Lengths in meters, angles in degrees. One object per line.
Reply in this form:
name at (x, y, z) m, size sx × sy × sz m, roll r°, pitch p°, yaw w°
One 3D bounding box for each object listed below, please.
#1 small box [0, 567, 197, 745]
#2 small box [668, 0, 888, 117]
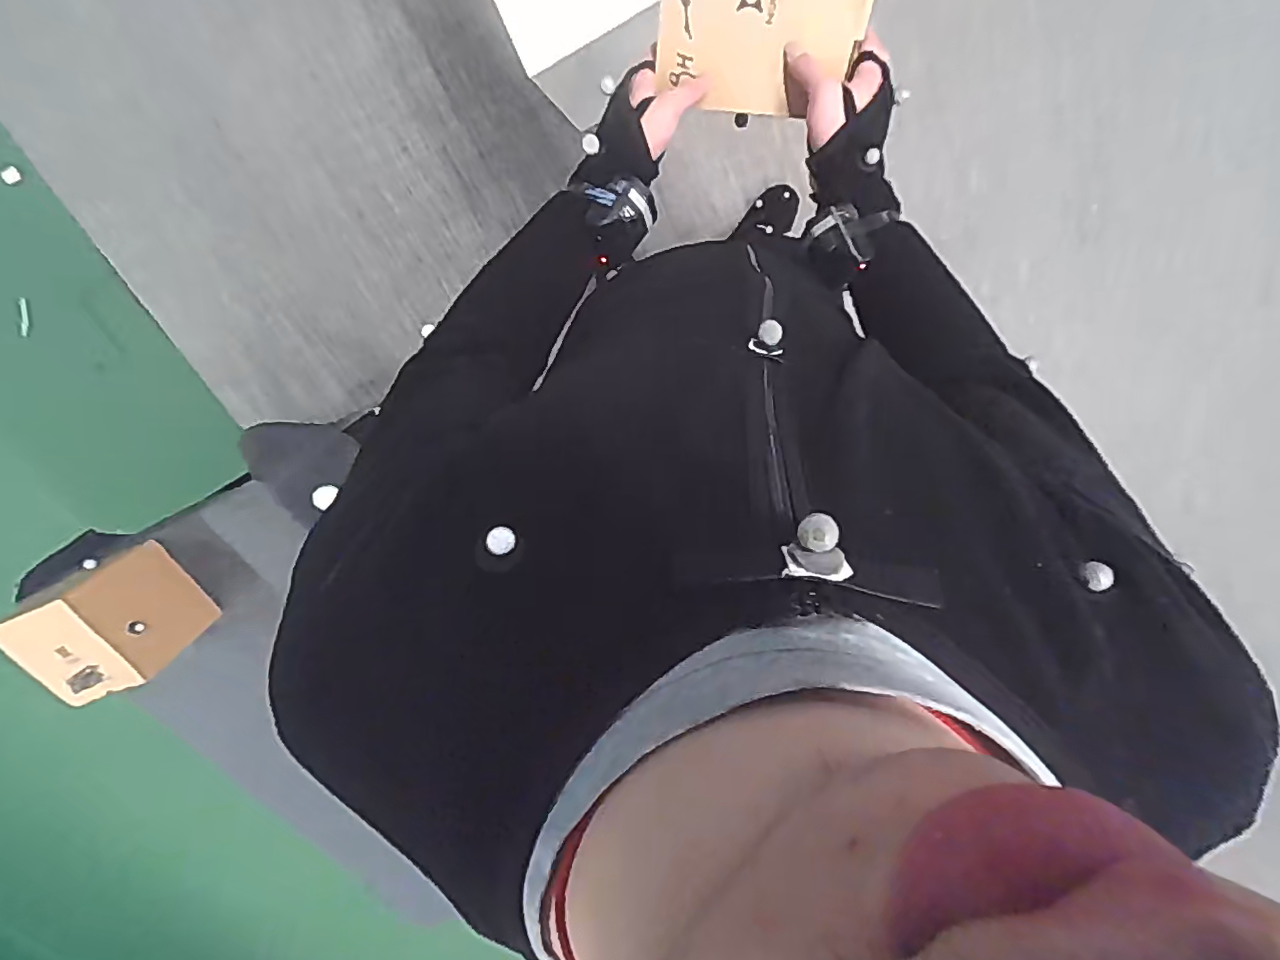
small box at (-0.863, 0.268, 0.844) m, size 0.168 × 0.176 × 0.179 m, roll -22°, pitch 113°, yaw 9°
small box at (0.123, -0.449, 0.504) m, size 0.179 × 0.176 × 0.168 m, roll 6°, pitch 126°, yaw 1°
